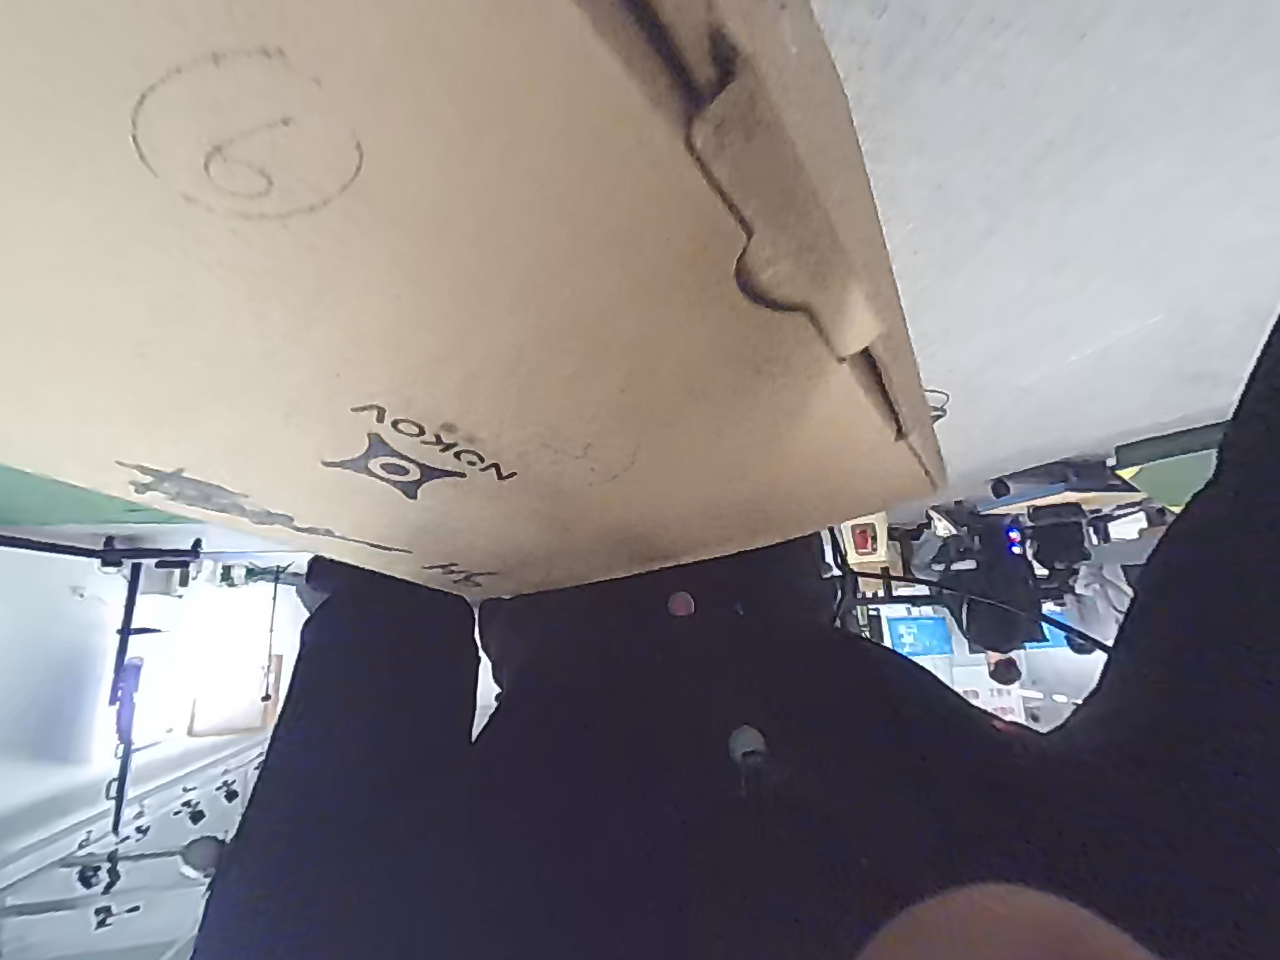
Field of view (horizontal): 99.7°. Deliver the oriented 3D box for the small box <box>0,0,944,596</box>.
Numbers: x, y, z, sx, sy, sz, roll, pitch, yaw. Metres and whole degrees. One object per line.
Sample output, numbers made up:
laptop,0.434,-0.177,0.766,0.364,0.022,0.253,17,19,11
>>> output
small box,-0.045,-0.079,0.154,0.179,0.176,0.168,-19,145,34
